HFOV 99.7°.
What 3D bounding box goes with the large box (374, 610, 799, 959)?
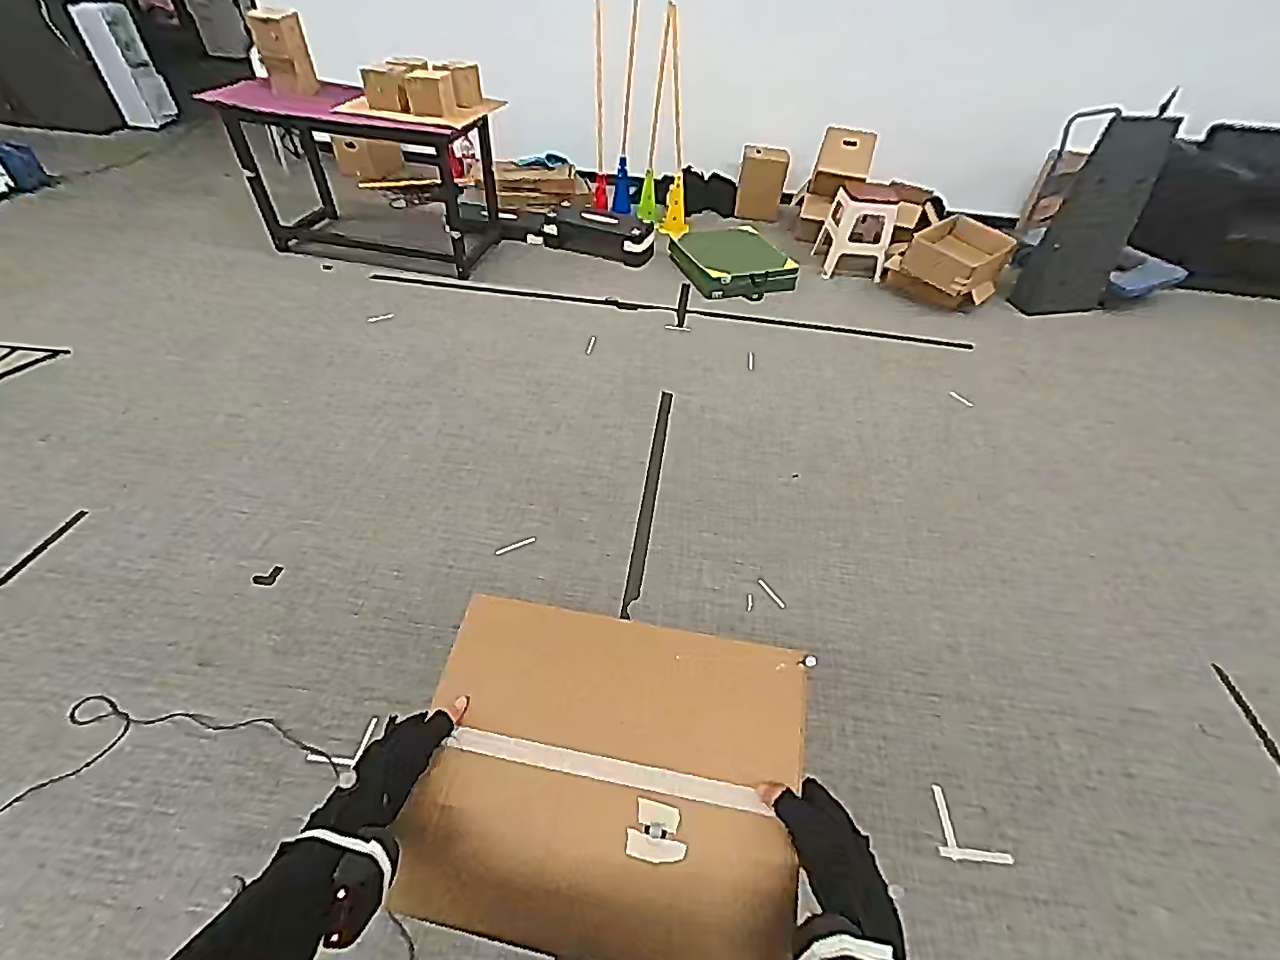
[{"bbox_3d":[-0.035,0.392,0.701,0.408,0.320,0.320,9,61,7],"label":"large box"}]
